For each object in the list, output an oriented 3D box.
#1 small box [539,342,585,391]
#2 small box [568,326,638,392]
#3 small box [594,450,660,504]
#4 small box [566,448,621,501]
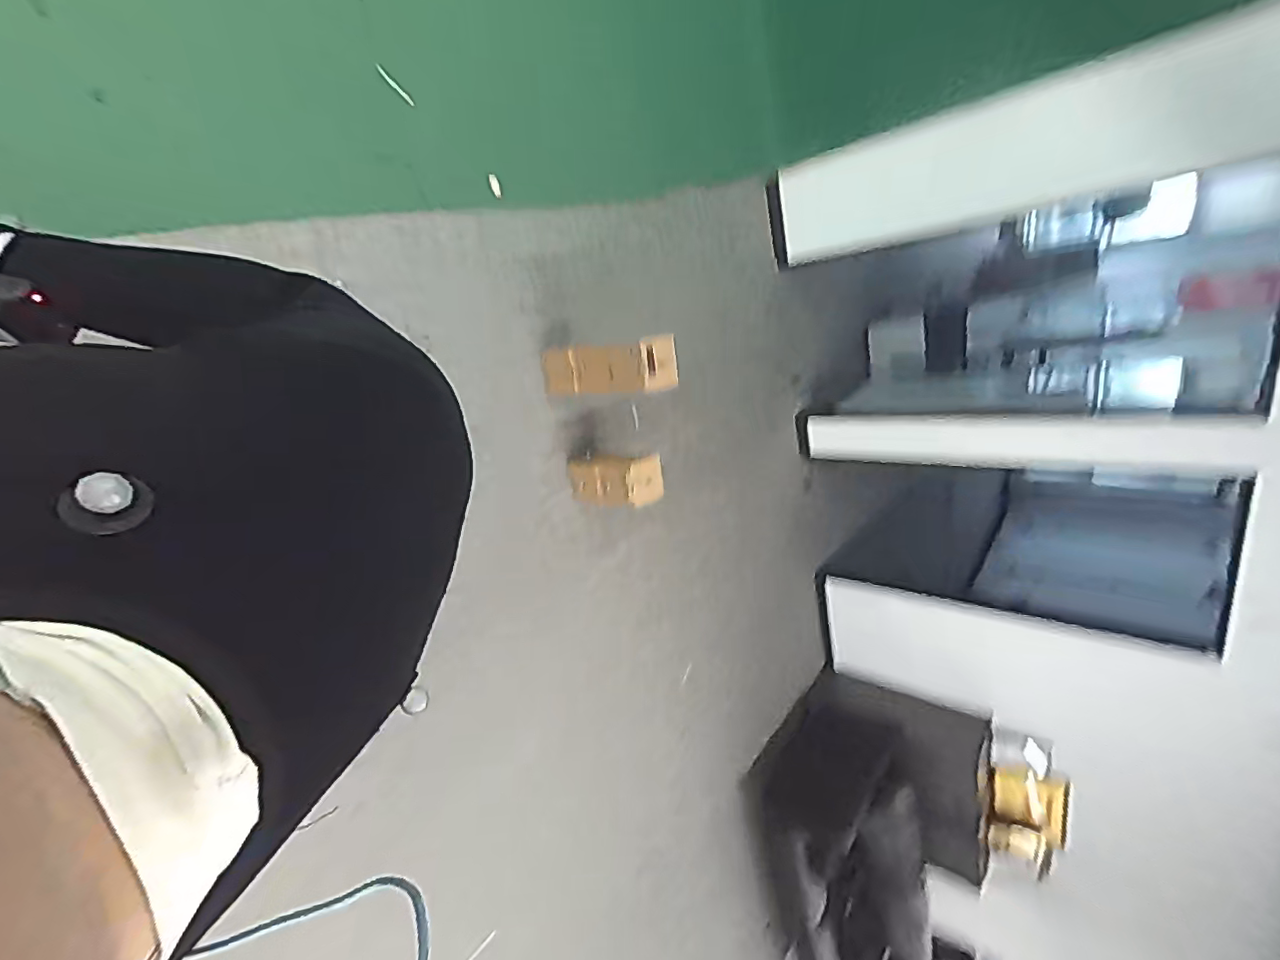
[{"bbox_3d":[-0.262,-0.431,2.031,0.179,0.176,0.168,-25,113,-44],"label":"small box"},{"bbox_3d":[-0.136,-0.427,1.940,0.168,0.176,0.179,20,79,-45],"label":"small box"},{"bbox_3d":[-0.050,-0.016,2.068,0.179,0.176,0.168,-23,110,-44],"label":"small box"},{"bbox_3d":[-0.179,-0.026,2.172,0.179,0.176,0.168,-28,115,-42],"label":"small box"}]
